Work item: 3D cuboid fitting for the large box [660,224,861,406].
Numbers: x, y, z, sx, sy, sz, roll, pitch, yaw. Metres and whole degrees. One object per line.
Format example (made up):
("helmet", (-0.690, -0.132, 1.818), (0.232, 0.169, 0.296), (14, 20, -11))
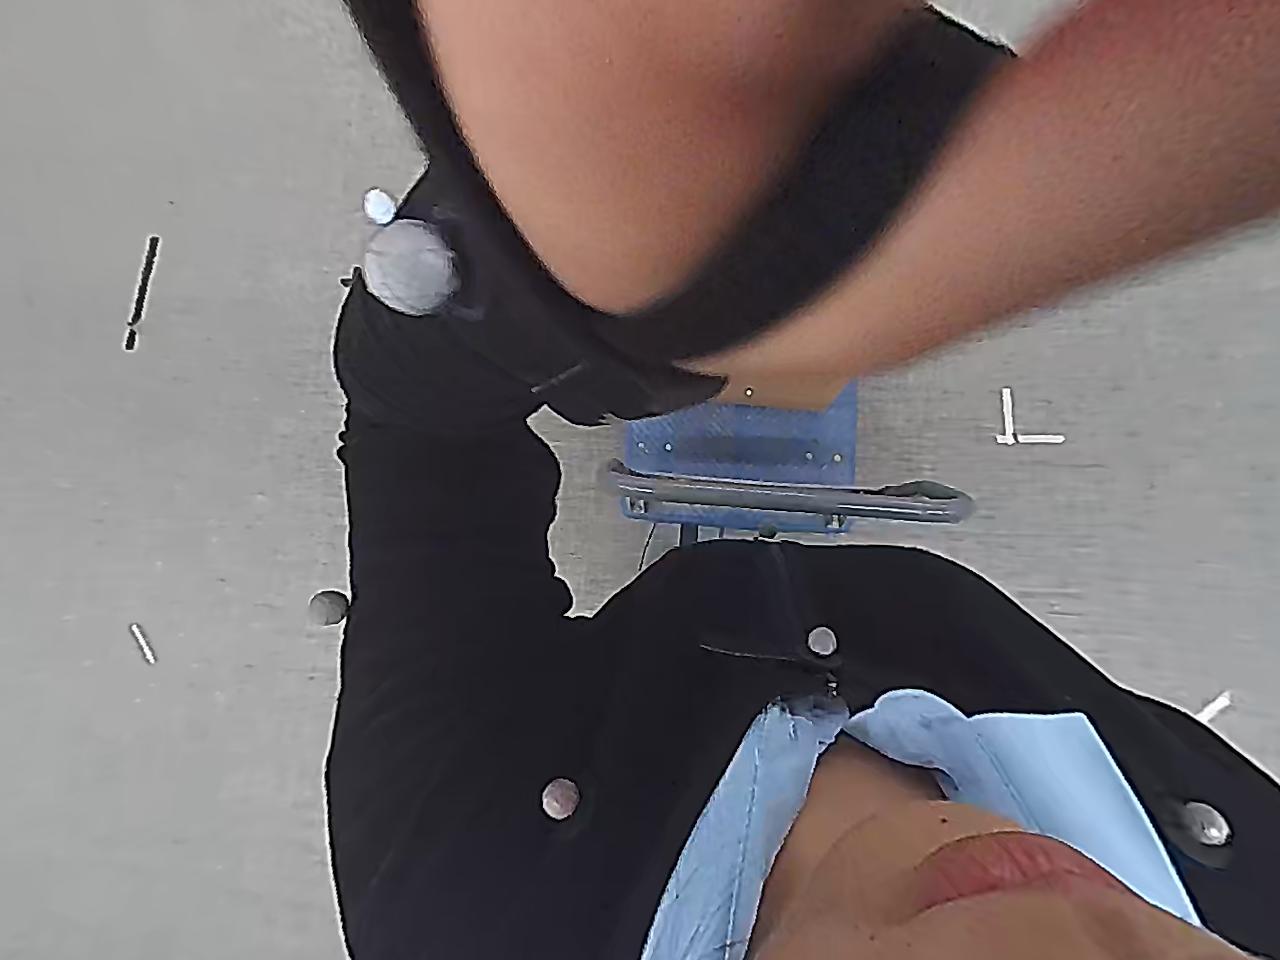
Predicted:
("large box", (0.268, -0.368, 1.269), (0.408, 0.320, 0.320), (5, 81, 7))
